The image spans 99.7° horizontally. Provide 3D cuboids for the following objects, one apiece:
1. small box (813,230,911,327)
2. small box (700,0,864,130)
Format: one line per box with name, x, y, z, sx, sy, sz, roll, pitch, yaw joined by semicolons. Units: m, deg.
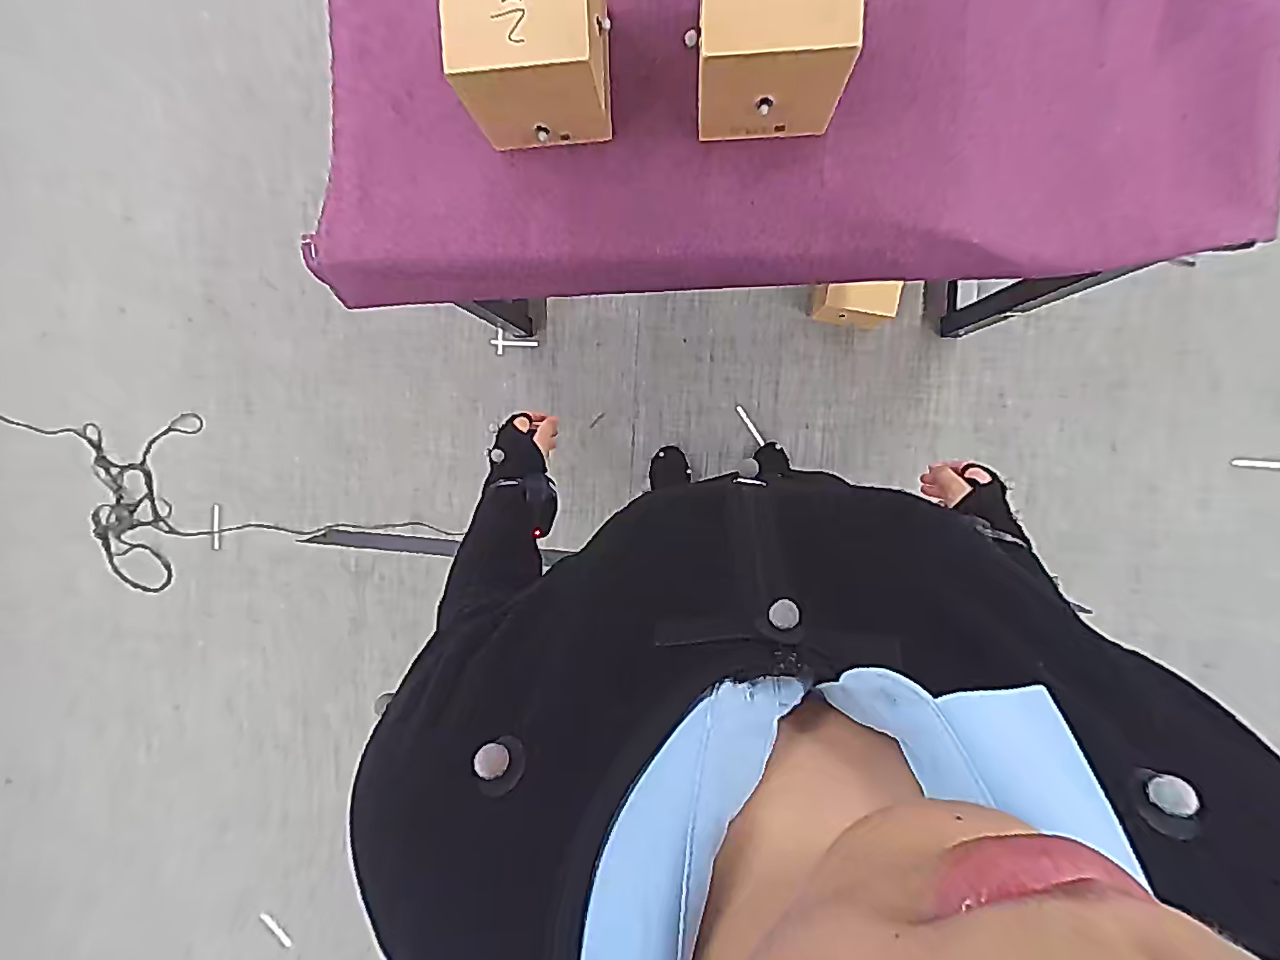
small box;0.538;-0.490;1.338;0.168;0.176;0.179;11;95;5
small box;0.157;-0.540;0.634;0.168;0.176;0.179;1;94;5
